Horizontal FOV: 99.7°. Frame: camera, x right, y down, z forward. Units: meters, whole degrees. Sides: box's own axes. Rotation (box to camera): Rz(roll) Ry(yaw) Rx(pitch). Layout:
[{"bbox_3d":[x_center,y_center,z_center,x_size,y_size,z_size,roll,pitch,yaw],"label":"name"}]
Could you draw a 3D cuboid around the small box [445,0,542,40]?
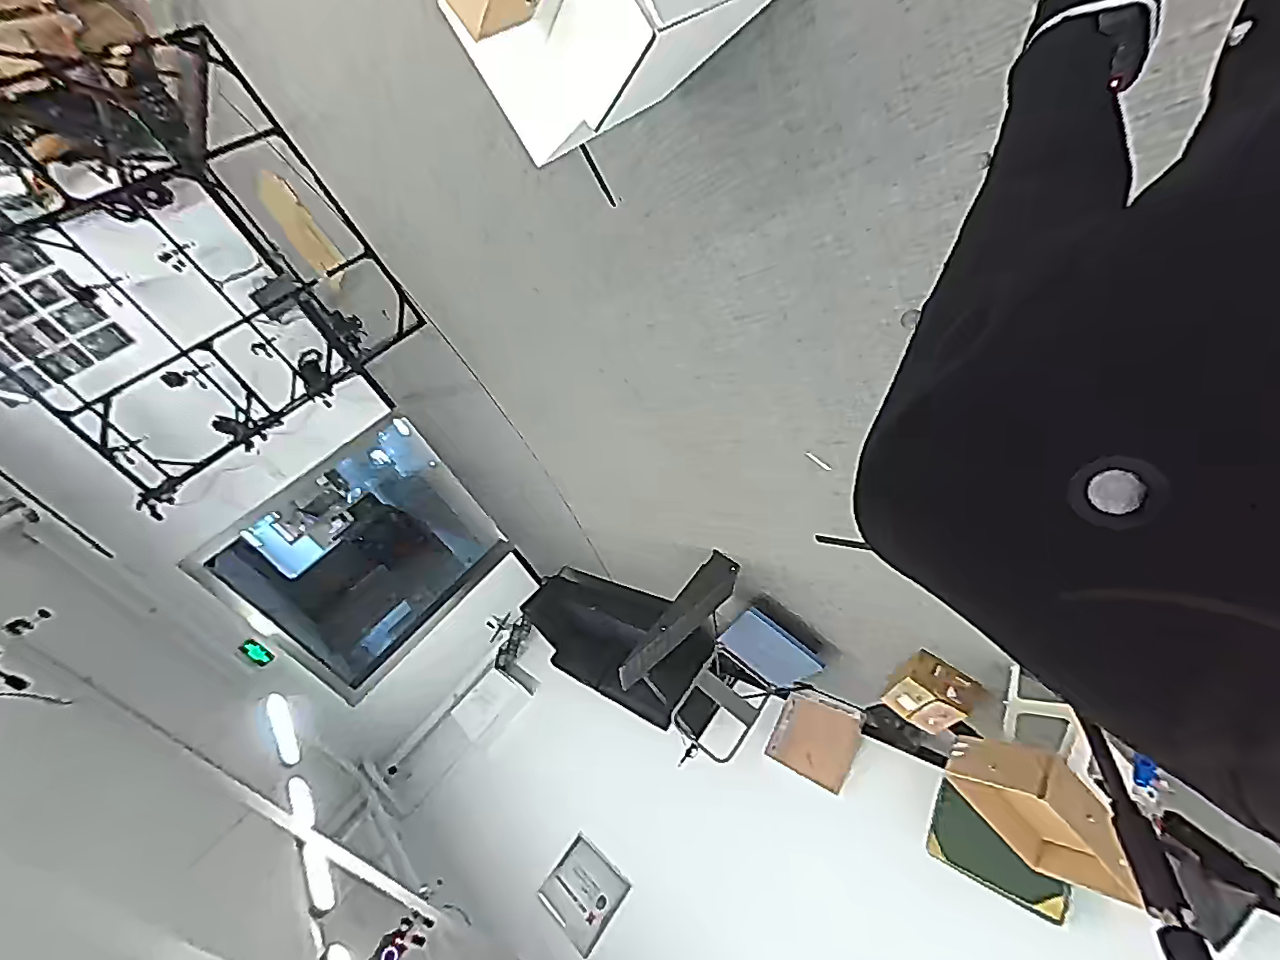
[{"bbox_3d":[-0.283,-0.986,1.005,0.179,0.176,0.168,50,154,-16],"label":"small box"}]
